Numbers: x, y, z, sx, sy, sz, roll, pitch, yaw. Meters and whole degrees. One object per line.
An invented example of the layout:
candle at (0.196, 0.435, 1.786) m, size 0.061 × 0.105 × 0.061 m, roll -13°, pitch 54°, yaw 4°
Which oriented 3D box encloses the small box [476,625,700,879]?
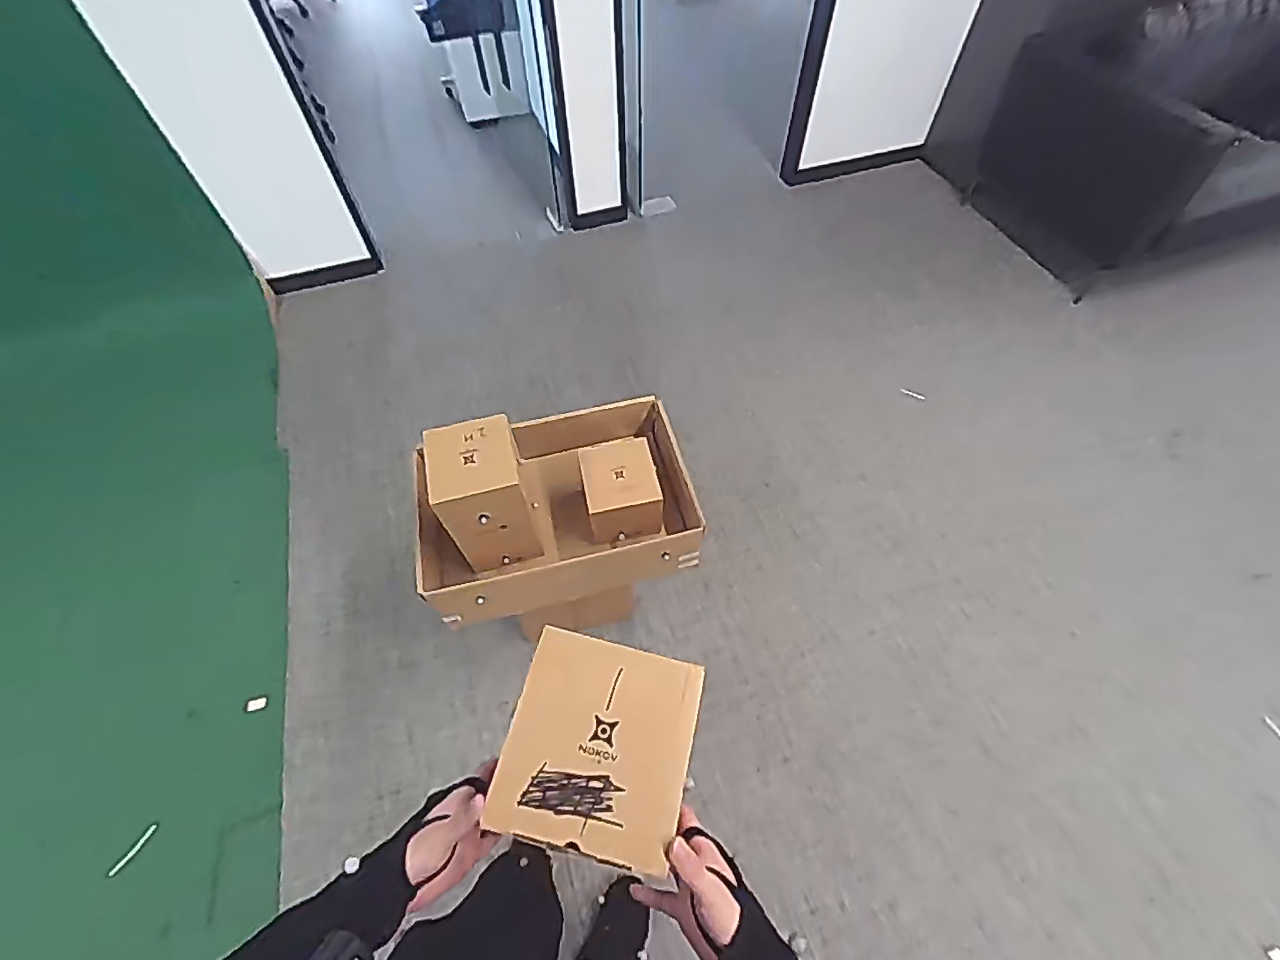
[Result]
small box at (-0.045, 0.275, 0.560) m, size 0.168 × 0.176 × 0.179 m, roll 14°, pitch 60°, yaw 4°

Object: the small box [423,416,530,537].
small box at (-0.327, 0.002, 1.099) m, size 0.168 × 0.176 × 0.179 m, roll -13°, pitch 59°, yaw -8°
